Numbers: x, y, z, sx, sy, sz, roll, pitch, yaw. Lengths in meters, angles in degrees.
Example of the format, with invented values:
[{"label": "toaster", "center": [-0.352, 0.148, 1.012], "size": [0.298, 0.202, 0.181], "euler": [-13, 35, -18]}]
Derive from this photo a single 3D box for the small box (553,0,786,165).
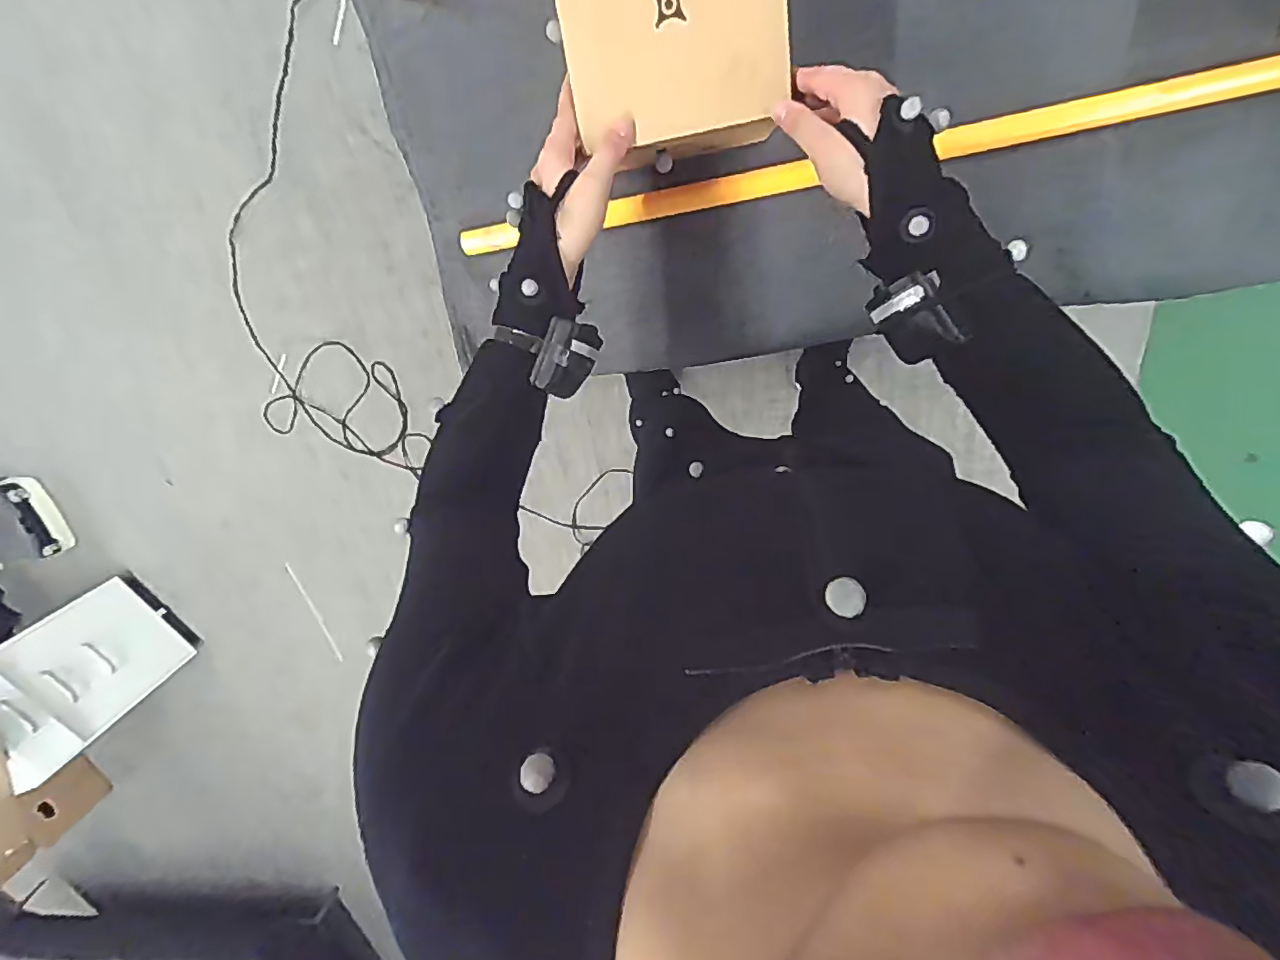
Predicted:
[{"label": "small box", "center": [0.028, -0.379, 0.456], "size": [0.168, 0.176, 0.179], "euler": [-6, 114, 10]}]
